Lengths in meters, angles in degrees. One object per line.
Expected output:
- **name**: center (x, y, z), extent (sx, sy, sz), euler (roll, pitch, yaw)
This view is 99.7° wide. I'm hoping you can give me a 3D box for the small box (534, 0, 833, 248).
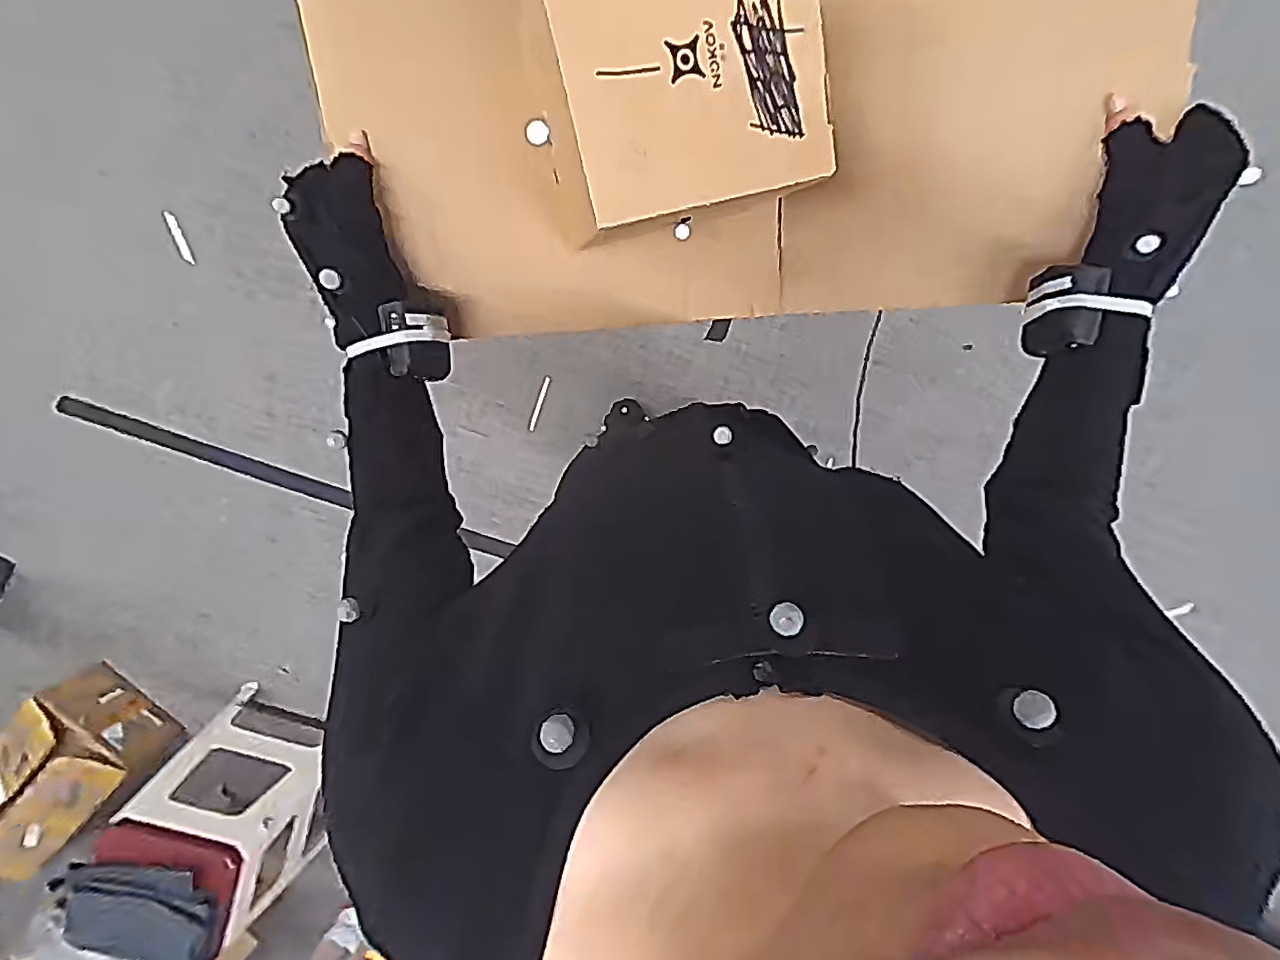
- **small box**: center (0.023, -0.291, 0.424), extent (0.179, 0.176, 0.168), euler (-16, 110, -7)
